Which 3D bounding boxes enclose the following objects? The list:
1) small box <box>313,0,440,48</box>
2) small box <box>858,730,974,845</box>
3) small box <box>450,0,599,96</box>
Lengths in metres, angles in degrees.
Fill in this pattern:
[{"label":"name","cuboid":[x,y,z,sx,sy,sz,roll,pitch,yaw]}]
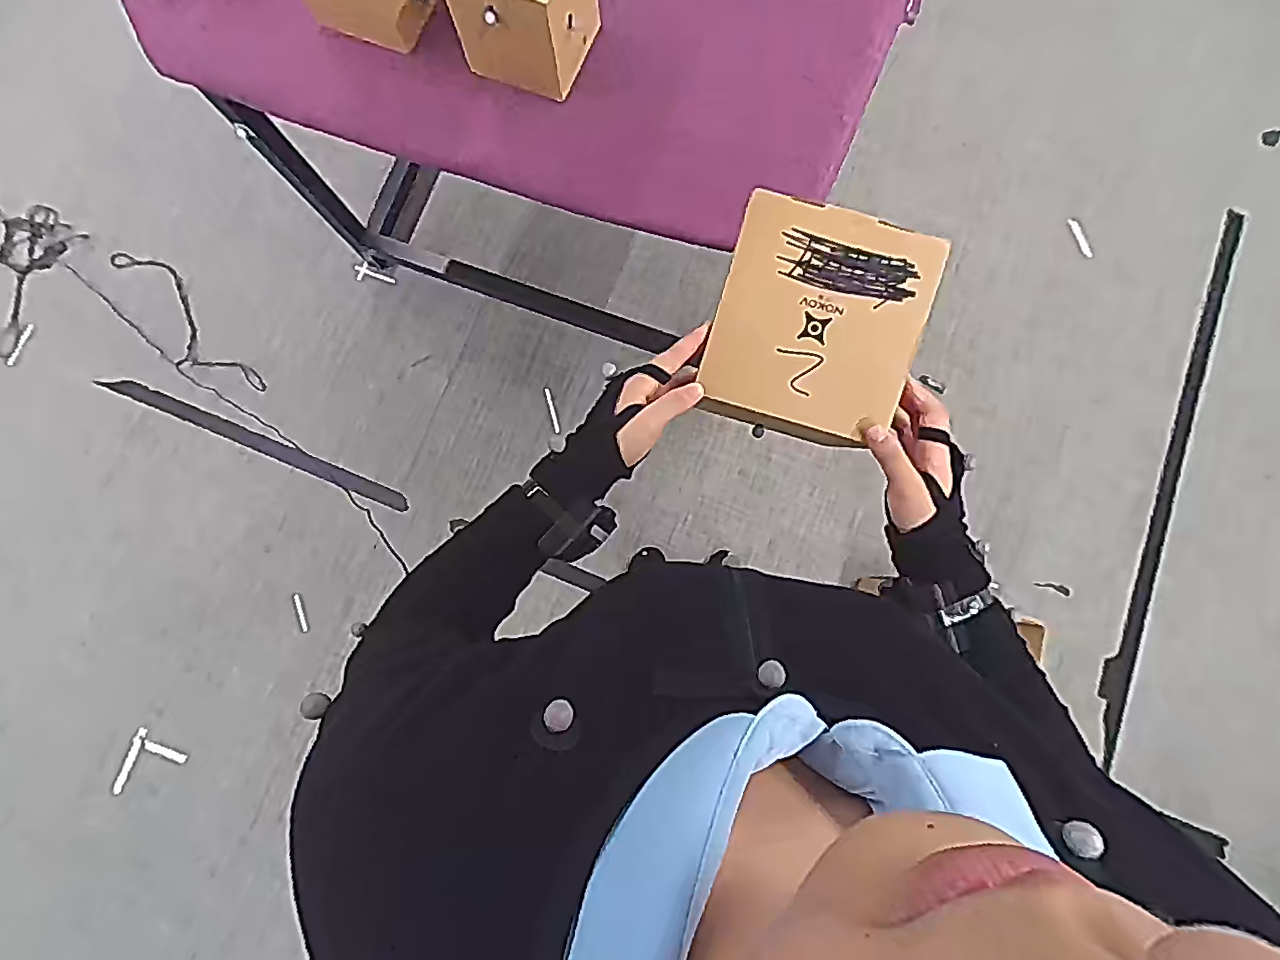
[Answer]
[{"label":"small box","cuboid":[-0.441,-0.844,0.860,0.179,0.176,0.168,21,83,3]},{"label":"small box","cuboid":[0.653,0.726,1.301,0.179,0.176,0.168,18,83,2]},{"label":"small box","cuboid":[-0.173,-0.750,0.844,0.179,0.176,0.168,21,82,3]}]
